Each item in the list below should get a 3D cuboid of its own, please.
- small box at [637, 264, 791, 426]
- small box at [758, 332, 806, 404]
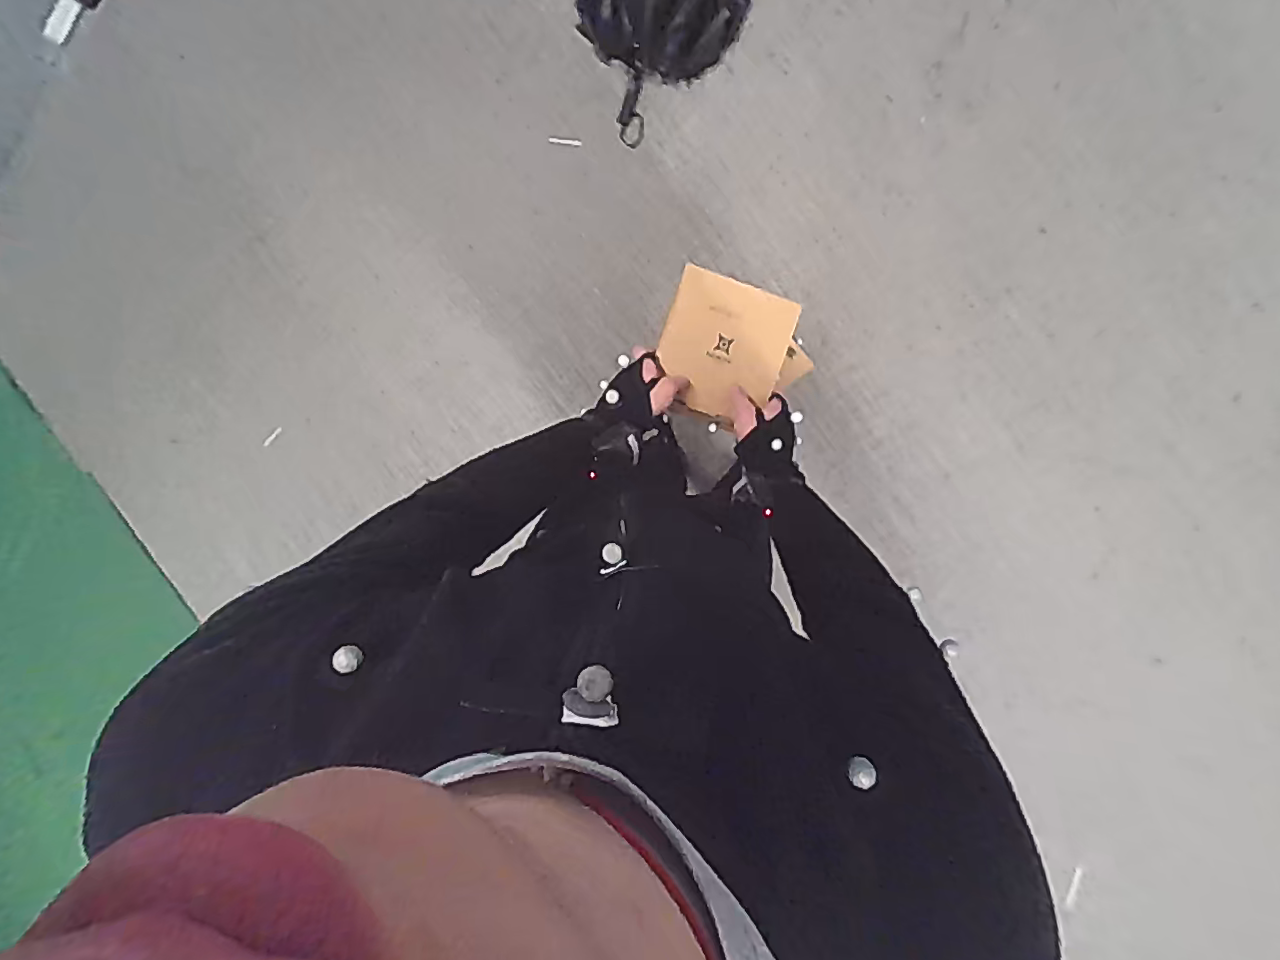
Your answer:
[{"bbox_3d":[0.096,-0.185,0.802,0.168,0.176,0.179,18,92,-5],"label":"small box"},{"bbox_3d":[0.302,-0.299,1.363,0.179,0.176,0.168,-39,89,20],"label":"small box"}]
